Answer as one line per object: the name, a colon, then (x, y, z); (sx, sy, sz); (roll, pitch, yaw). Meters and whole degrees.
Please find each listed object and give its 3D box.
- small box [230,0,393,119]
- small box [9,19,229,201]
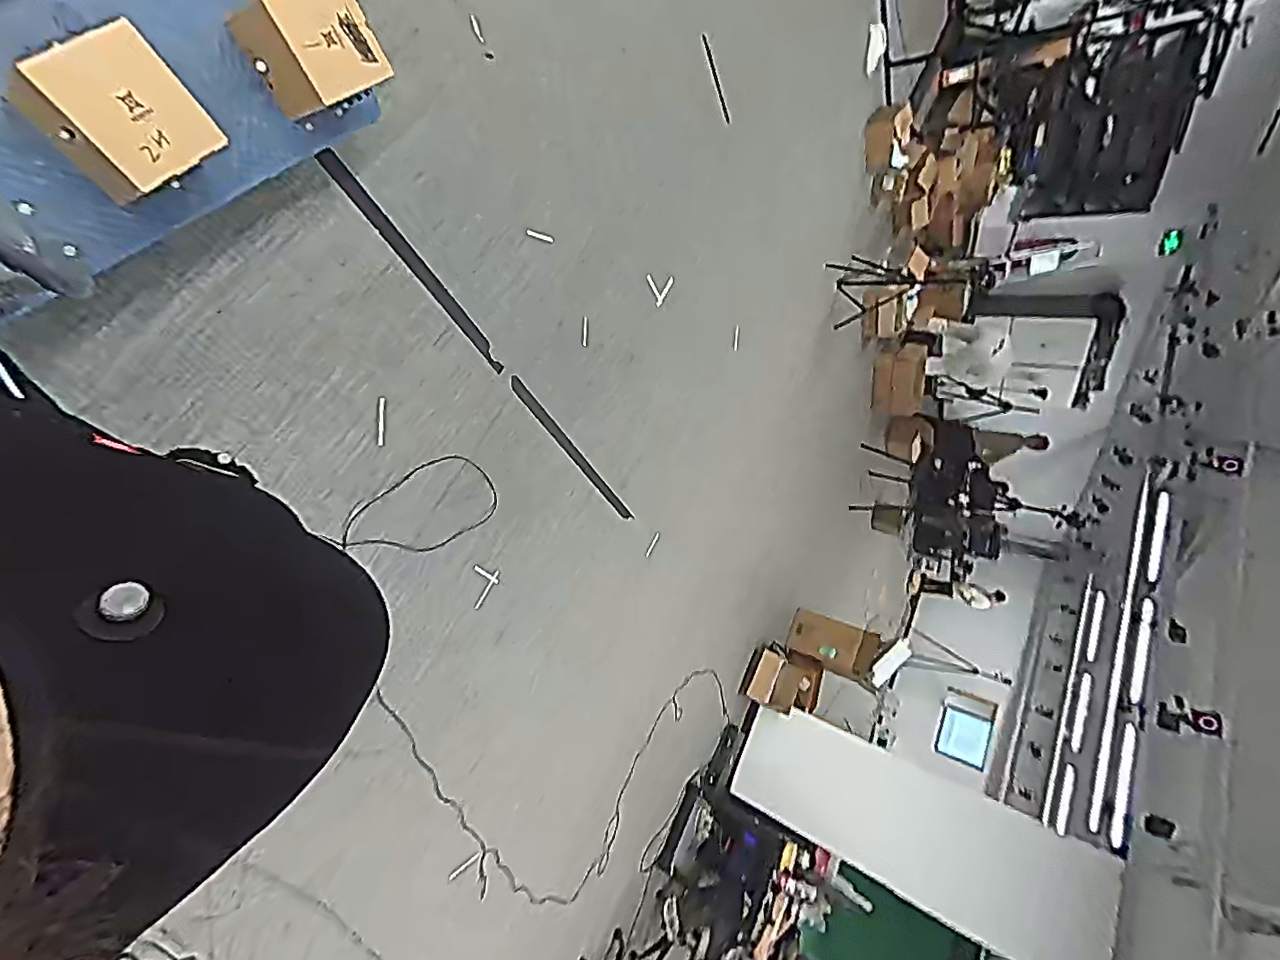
small box: (-0.628, -0.824, 1.037); (0.179, 0.176, 0.168); (-53, 139, -29)
small box: (-0.819, -0.570, 0.853); (0.168, 0.176, 0.179); (-57, 141, -26)
